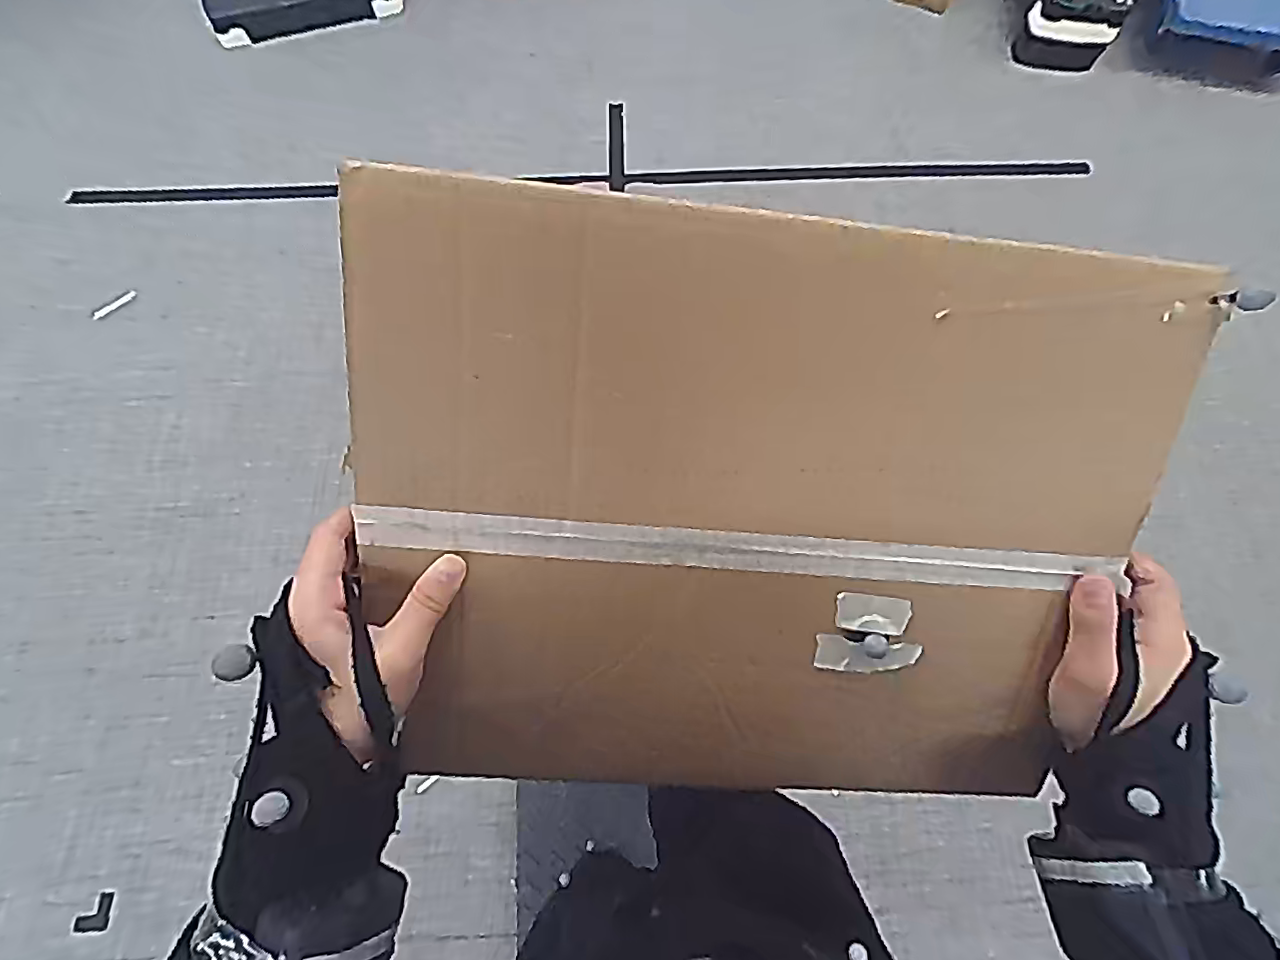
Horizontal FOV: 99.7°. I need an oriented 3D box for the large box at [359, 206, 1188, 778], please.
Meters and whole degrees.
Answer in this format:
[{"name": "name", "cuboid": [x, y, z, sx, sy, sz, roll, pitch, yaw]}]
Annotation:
[{"name": "large box", "cuboid": [0.052, -0.005, 0.433, 0.408, 0.320, 0.320, 4, 108, -6]}]
